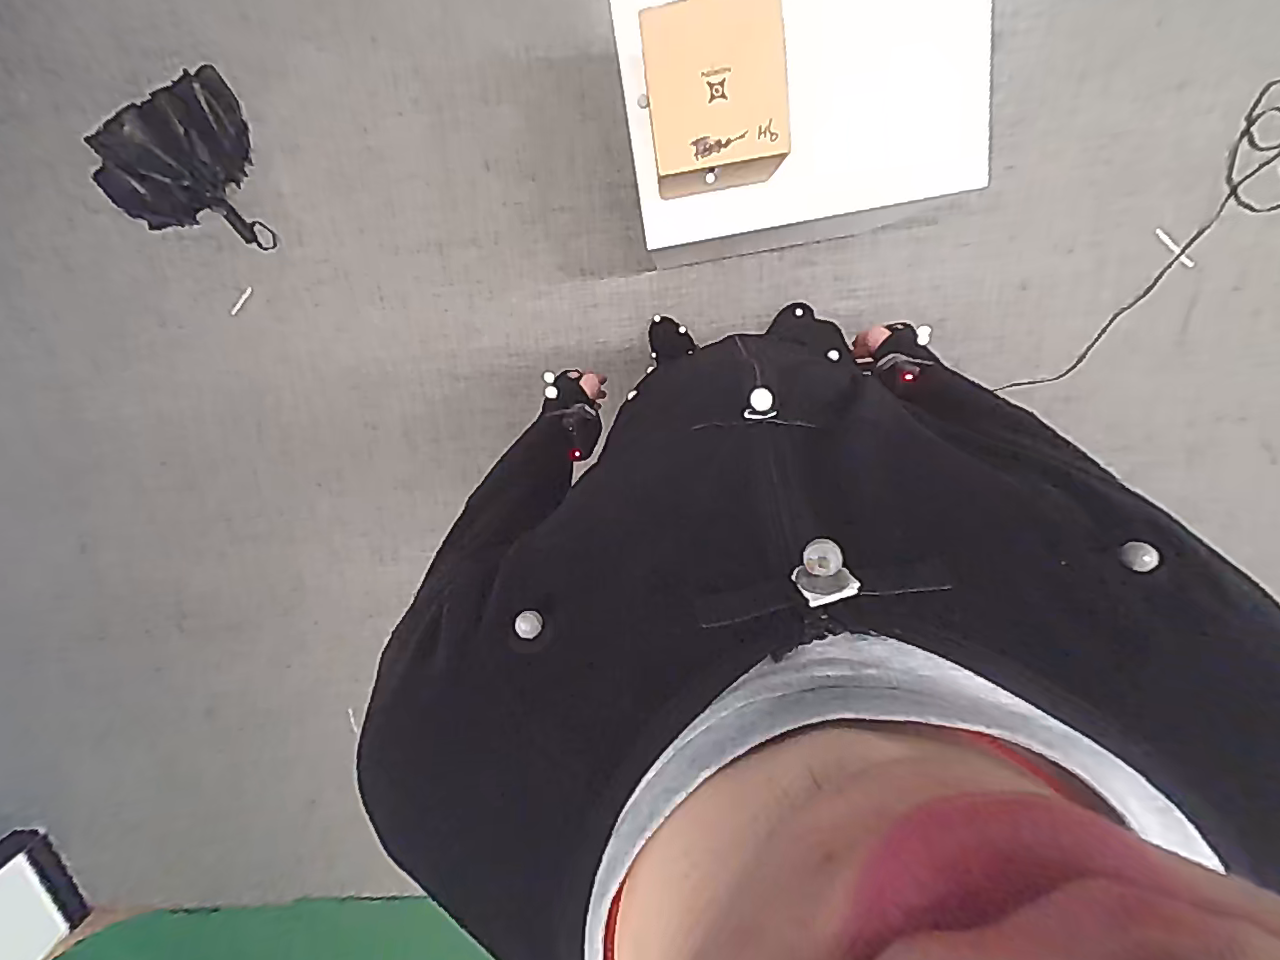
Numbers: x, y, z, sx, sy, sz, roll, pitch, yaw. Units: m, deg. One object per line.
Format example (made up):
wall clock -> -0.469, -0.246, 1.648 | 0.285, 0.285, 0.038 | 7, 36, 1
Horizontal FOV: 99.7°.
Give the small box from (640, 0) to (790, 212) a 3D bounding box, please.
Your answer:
small box -> 0.093, -0.481, 0.720 | 0.168, 0.176, 0.179 | -9, 105, 5
